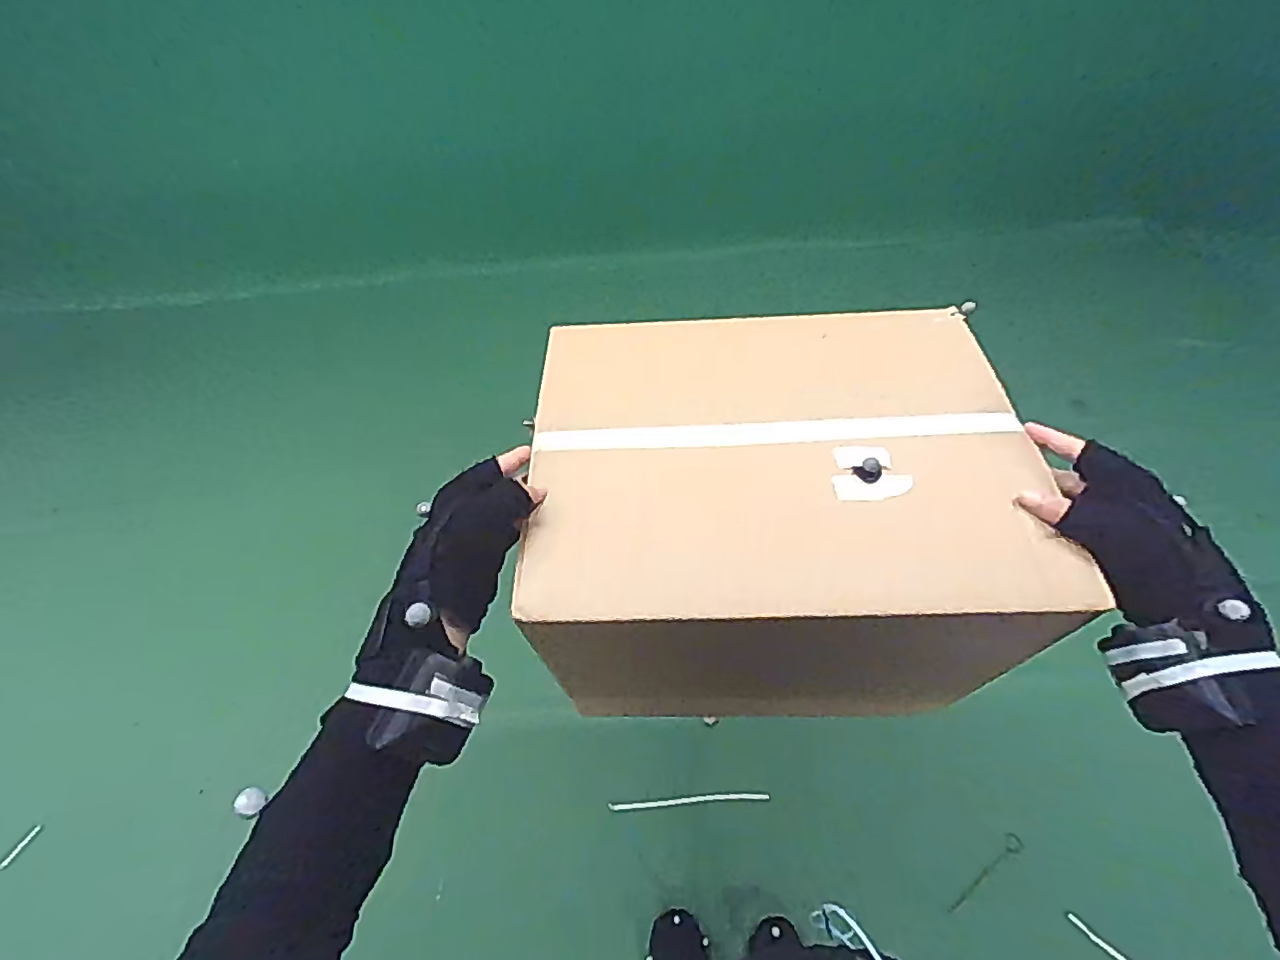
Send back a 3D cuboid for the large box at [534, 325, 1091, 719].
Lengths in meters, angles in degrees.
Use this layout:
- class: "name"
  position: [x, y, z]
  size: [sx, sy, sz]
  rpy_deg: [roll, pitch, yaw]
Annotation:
- class: "large box"
  position: [0.124, 0.058, 0.589]
  size: [0.408, 0.320, 0.320]
  rpy_deg: [-1, 54, 2]
